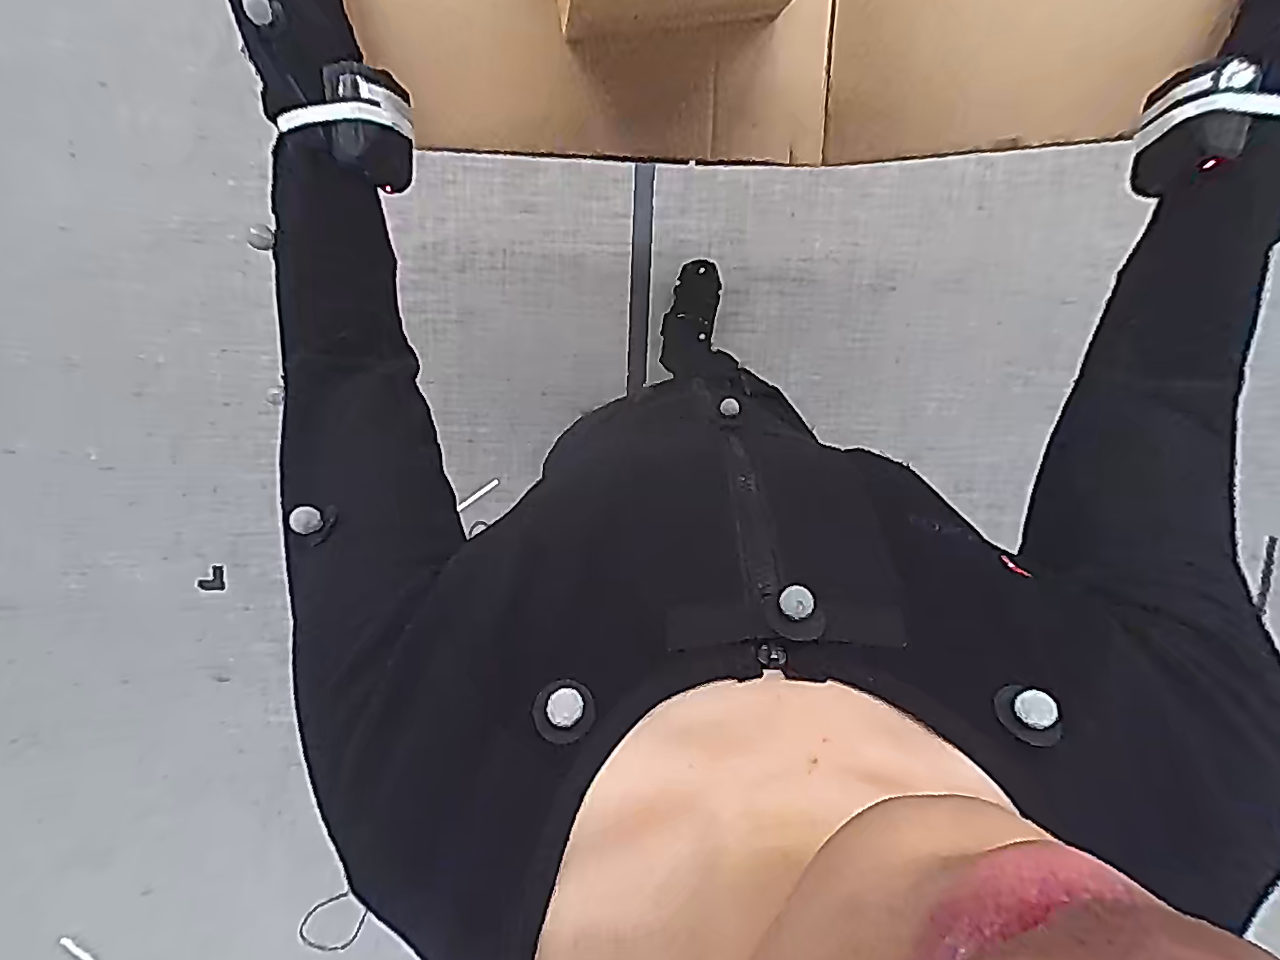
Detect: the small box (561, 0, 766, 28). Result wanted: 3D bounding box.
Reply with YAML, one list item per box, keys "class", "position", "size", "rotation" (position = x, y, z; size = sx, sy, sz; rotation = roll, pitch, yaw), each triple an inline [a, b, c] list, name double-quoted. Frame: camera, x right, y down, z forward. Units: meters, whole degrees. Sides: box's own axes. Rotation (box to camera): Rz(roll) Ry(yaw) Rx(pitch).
- class: "small box"
  position: [0.032, -0.409, 0.320]
  size: [0.179, 0.176, 0.168]
  rotation: [-13, 110, -7]
